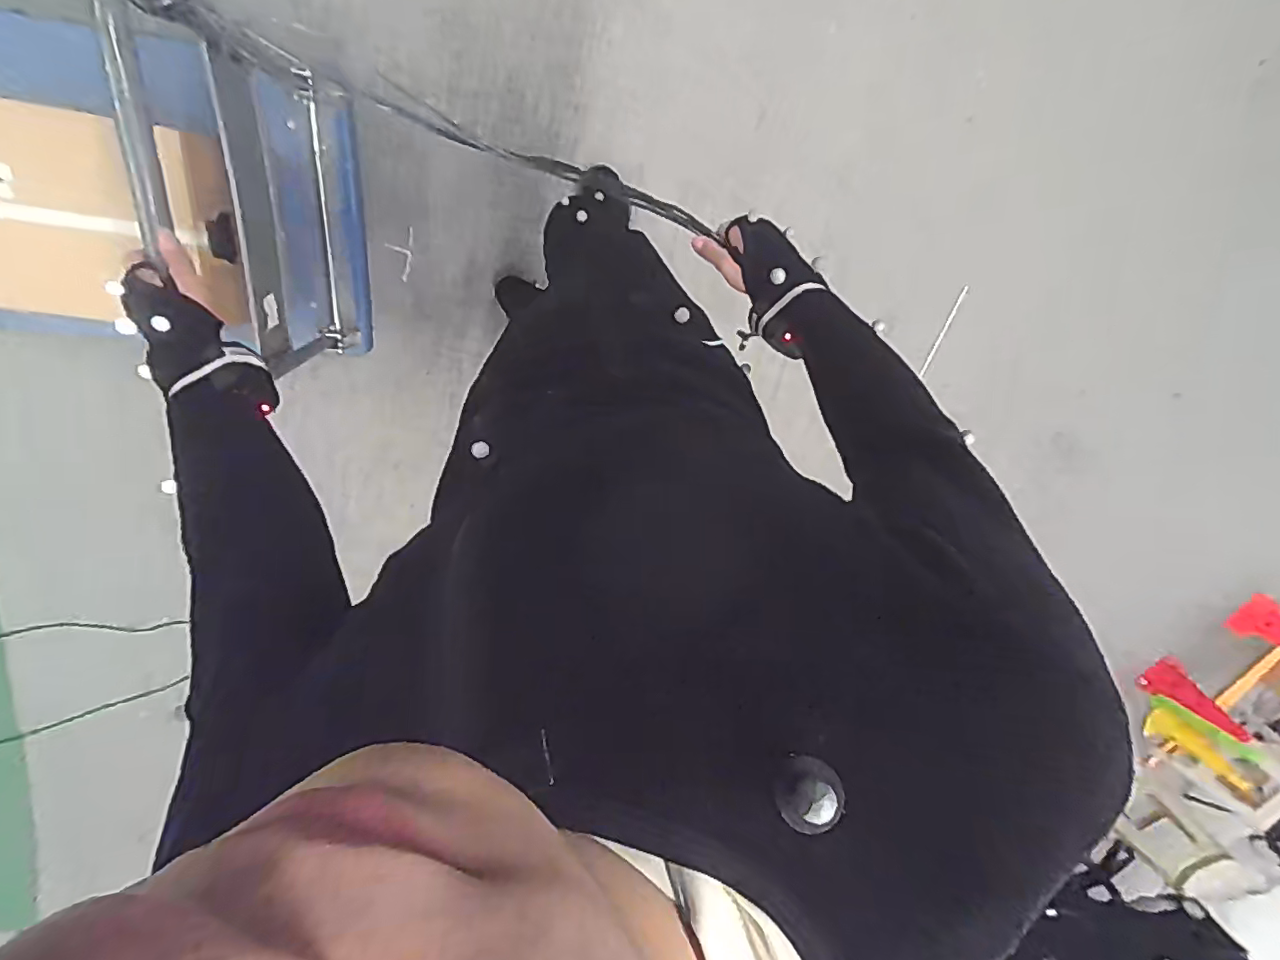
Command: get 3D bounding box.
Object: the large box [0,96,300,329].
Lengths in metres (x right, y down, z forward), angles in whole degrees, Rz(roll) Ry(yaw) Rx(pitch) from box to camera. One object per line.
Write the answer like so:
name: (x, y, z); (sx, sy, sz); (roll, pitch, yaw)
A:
large box: (-0.926, -0.487, 0.999); (0.408, 0.320, 0.320); (5, 115, -10)
